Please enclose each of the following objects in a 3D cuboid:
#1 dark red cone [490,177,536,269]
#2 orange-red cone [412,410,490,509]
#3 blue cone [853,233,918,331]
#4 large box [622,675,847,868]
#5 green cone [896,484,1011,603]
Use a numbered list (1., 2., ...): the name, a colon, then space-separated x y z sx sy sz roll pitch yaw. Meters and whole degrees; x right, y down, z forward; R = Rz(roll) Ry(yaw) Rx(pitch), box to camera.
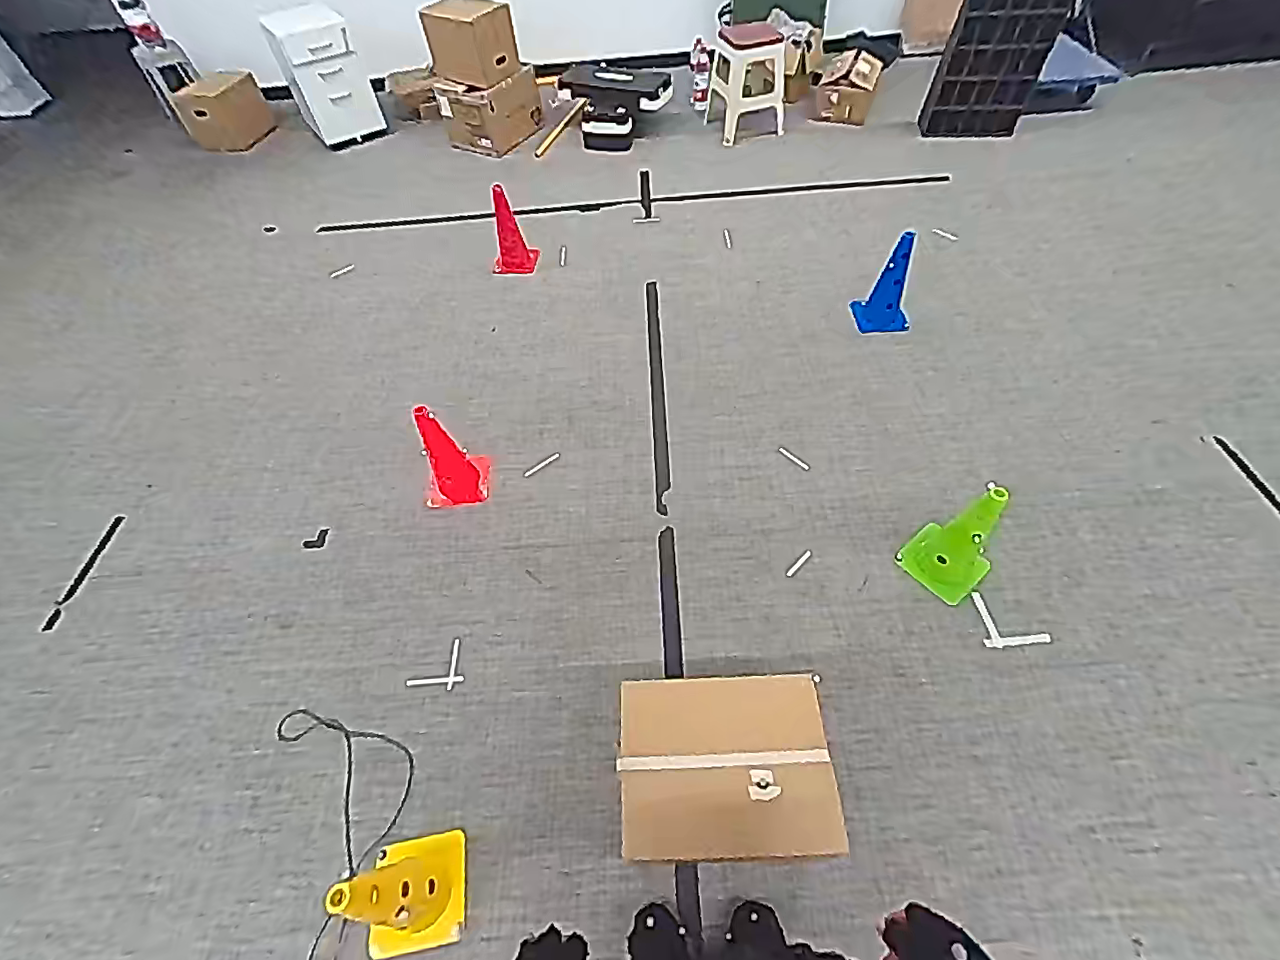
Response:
1. dark red cone: -0.608 -1.157 2.443 0.201 0.394 0.202 2 54 4
2. orange-red cone: -0.627 -0.088 1.702 0.198 0.360 0.199 -6 55 1
3. blue cone: 0.980 -0.771 2.096 0.192 0.380 0.193 -1 54 2
4. large box: 0.171 0.633 1.165 0.408 0.320 0.320 -3 53 1
5. green cone: 0.869 0.136 1.427 0.202 0.368 0.200 -35 60 -21
